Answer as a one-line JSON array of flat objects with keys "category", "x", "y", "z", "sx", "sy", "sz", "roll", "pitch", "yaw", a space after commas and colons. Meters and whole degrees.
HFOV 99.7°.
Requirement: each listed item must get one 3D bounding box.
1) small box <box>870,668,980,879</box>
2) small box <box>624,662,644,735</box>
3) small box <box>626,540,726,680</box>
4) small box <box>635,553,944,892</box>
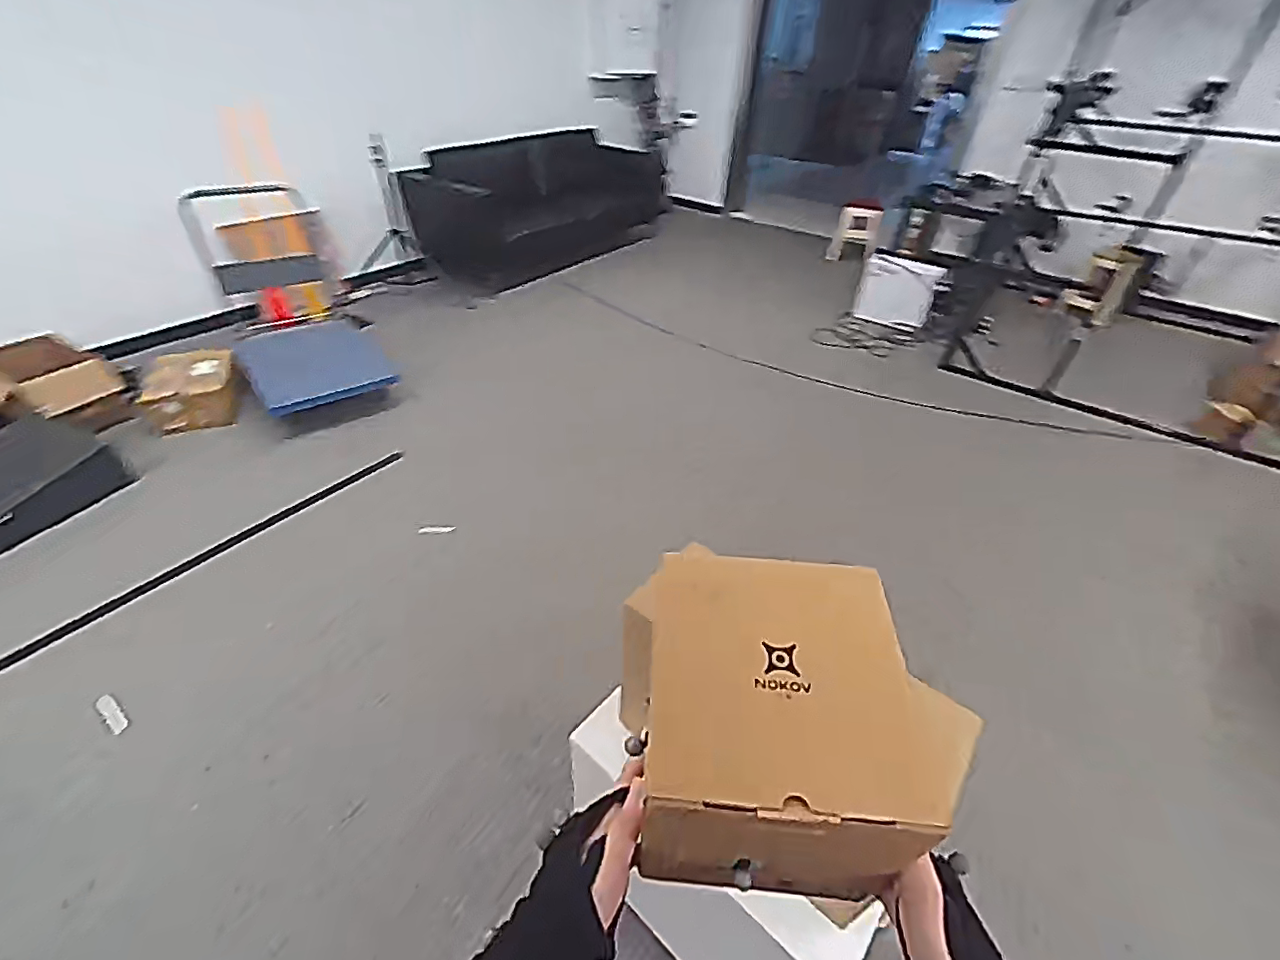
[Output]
[{"category": "small box", "x": 0.286, "y": 0.349, "z": 0.681, "sx": 0.168, "sy": 0.176, "sz": 0.179, "roll": 30, "pitch": 46, "yaw": 28}, {"category": "small box", "x": 0.085, "y": 0.354, "z": 0.915, "sx": 0.168, "sy": 0.176, "sz": 0.179, "roll": 32, "pitch": 46, "yaw": 30}, {"category": "small box", "x": 0.091, "y": 0.229, "z": 0.808, "sx": 0.179, "sy": 0.176, "sz": 0.168, "roll": 32, "pitch": 48, "yaw": 29}, {"category": "small box", "x": 0.085, "y": 0.179, "z": 0.406, "sx": 0.168, "sy": 0.176, "sz": 0.179, "roll": 4, "pitch": 44, "yaw": 1}]
